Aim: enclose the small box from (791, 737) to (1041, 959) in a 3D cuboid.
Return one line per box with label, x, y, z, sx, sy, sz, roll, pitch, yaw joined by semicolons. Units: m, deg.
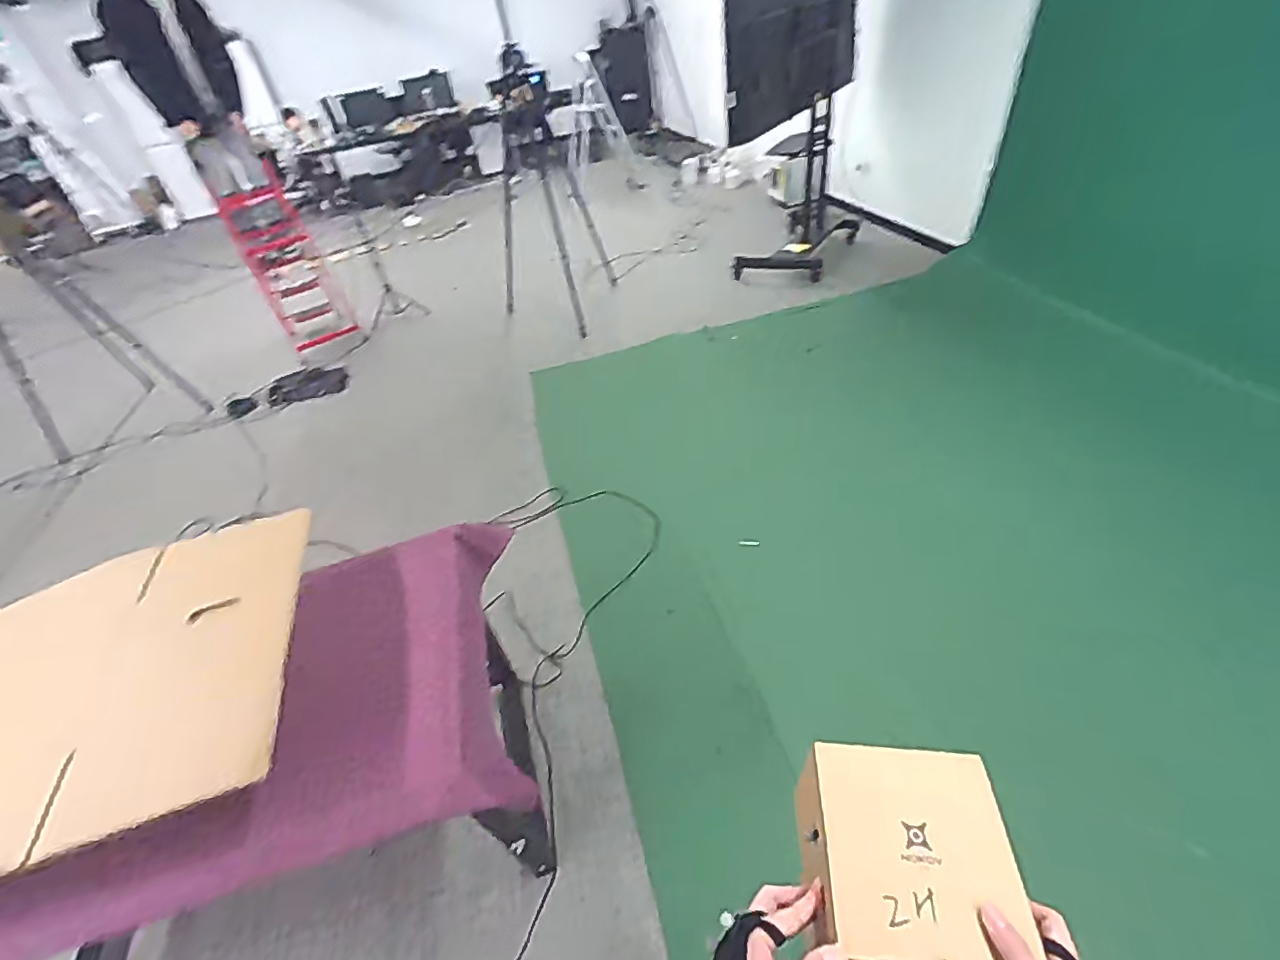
small box;0.253;0.388;0.549;0.168;0.176;0.179;1;45;7
